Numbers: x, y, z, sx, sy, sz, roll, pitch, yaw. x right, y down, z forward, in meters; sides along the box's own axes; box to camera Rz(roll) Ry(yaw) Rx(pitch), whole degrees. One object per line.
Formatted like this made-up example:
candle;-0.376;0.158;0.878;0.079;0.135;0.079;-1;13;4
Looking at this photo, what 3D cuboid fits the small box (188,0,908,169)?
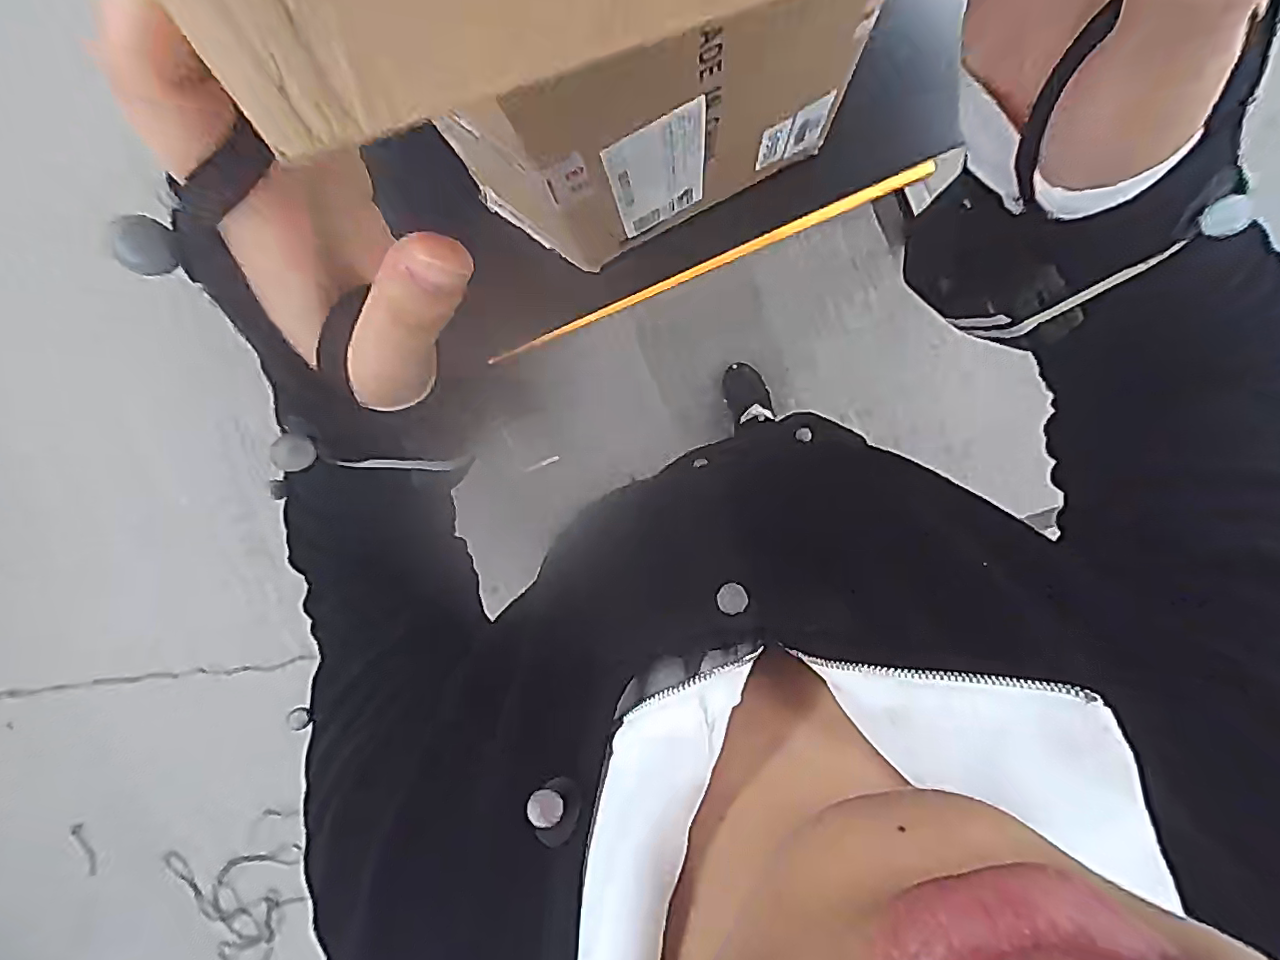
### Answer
small box;-0.014;-0.190;0.083;0.168;0.179;0.176;-14;51;4
